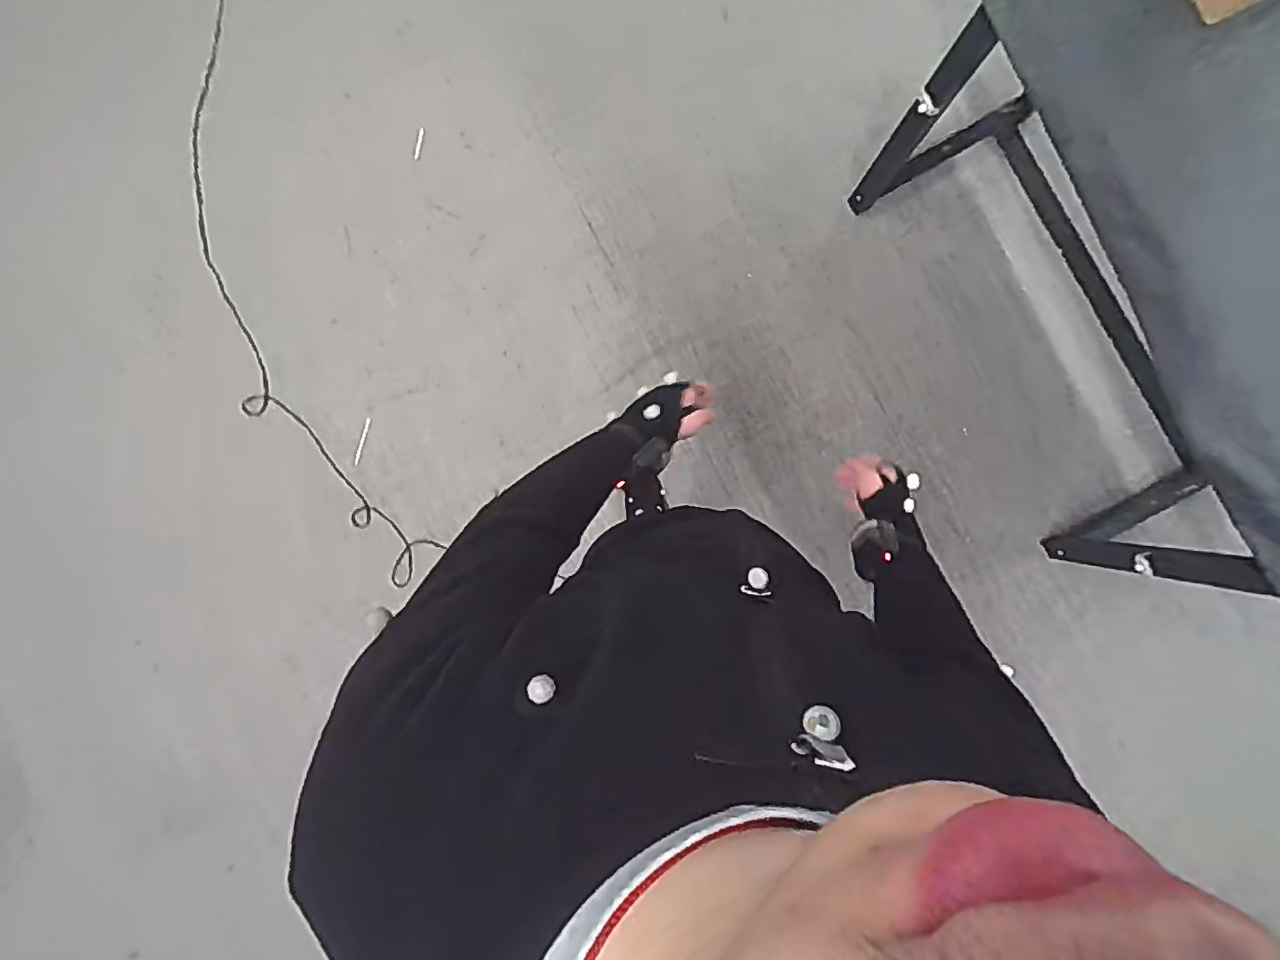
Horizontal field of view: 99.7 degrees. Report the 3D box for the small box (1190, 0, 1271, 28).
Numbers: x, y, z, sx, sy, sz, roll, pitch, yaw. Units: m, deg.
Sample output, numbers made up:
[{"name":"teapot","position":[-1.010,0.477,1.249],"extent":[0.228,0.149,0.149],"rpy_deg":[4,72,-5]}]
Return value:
[{"name":"small box","position":[0.911,-0.799,0.756],"extent":[0.179,0.176,0.168],"rpy_deg":[-26,90,1]}]
